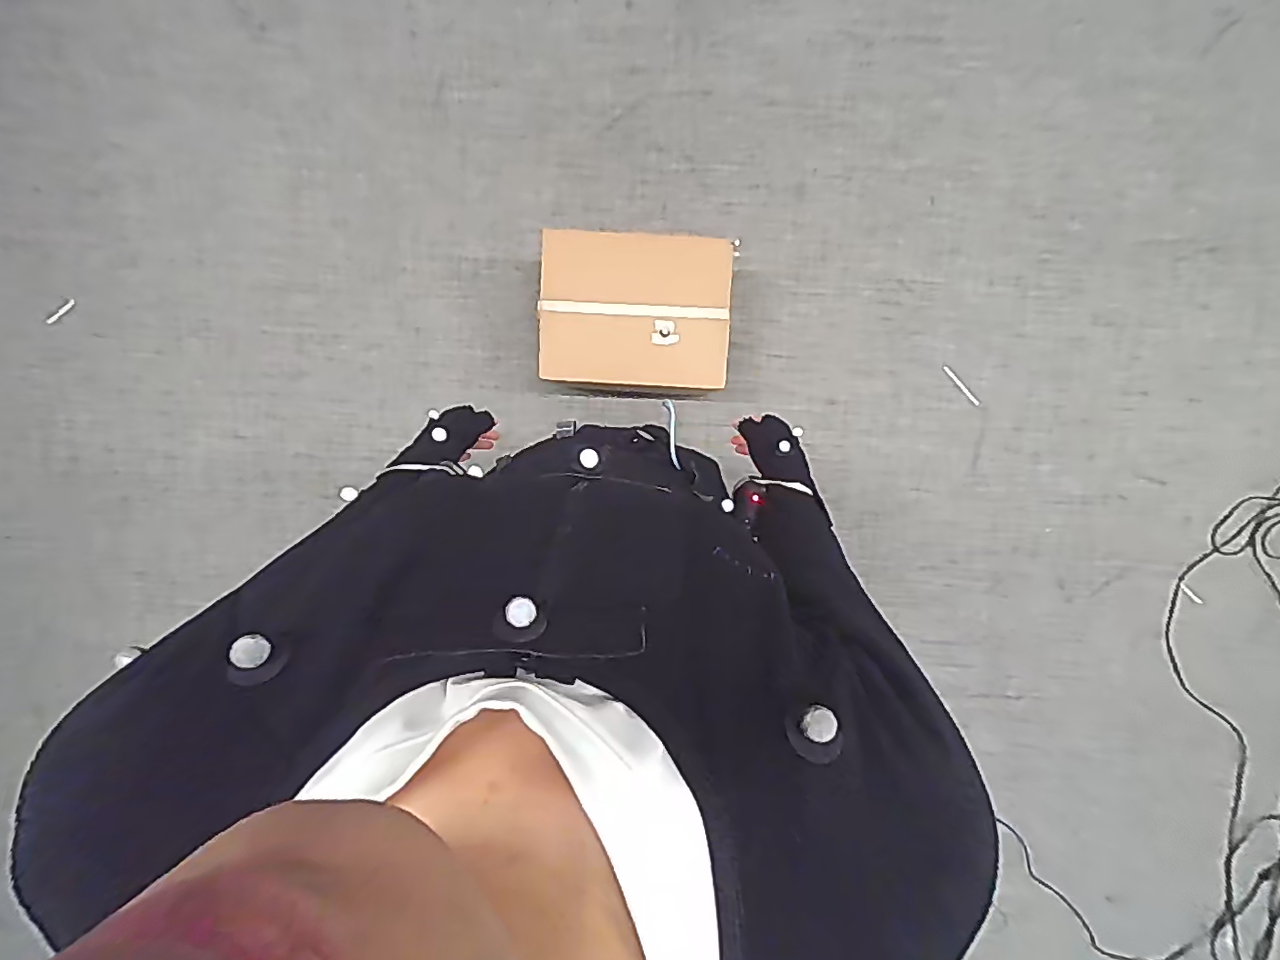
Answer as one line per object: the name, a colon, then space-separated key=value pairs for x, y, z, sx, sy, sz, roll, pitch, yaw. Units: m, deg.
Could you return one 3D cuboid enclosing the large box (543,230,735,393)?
large box: x=-0.007 y=-0.379 z=1.293 sx=0.408 sy=0.320 sz=0.320 roll=3 pitch=97 yaw=0
